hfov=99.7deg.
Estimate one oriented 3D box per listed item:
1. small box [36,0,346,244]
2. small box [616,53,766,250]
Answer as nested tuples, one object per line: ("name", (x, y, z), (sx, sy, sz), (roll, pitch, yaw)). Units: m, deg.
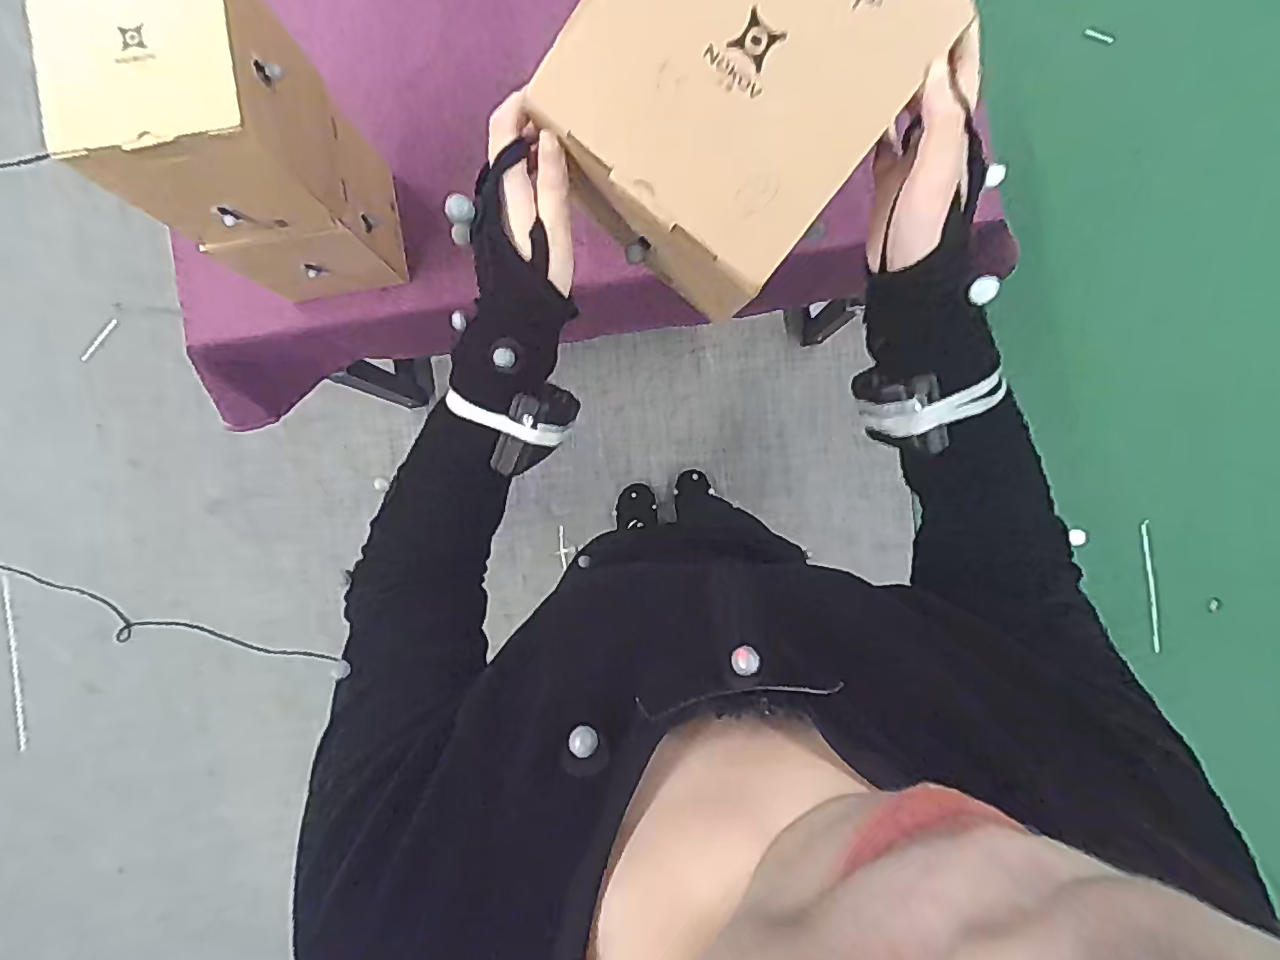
("small box", (-0.423, -0.365, 0.538), (0.168, 0.176, 0.179), (-9, 89, -1))
("small box", (0.059, -0.421, 0.714), (0.168, 0.176, 0.179), (-6, 89, -2))
